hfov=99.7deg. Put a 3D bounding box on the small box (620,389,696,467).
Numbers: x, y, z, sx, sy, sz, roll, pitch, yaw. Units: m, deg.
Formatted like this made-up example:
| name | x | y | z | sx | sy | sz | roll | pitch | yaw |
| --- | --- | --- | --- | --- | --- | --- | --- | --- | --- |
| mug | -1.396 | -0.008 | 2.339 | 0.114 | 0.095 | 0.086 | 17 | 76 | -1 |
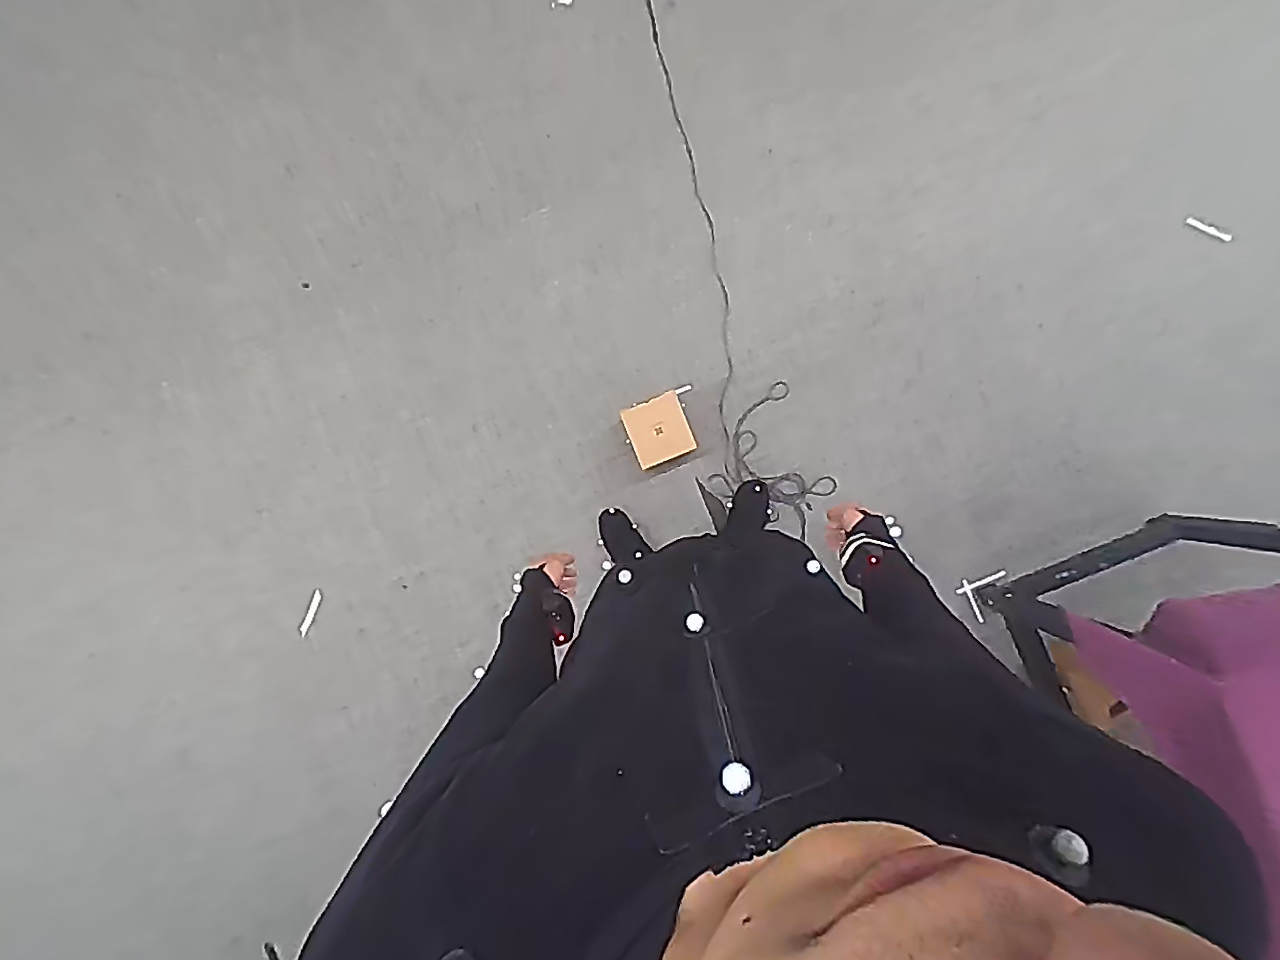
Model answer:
| name | x | y | z | sx | sy | sz | roll | pitch | yaw |
| --- | --- | --- | --- | --- | --- | --- | --- | --- | --- |
| small box | 0.052 | -0.142 | 1.561 | 0.168 | 0.176 | 0.179 | -22 | 90 | 4 |
